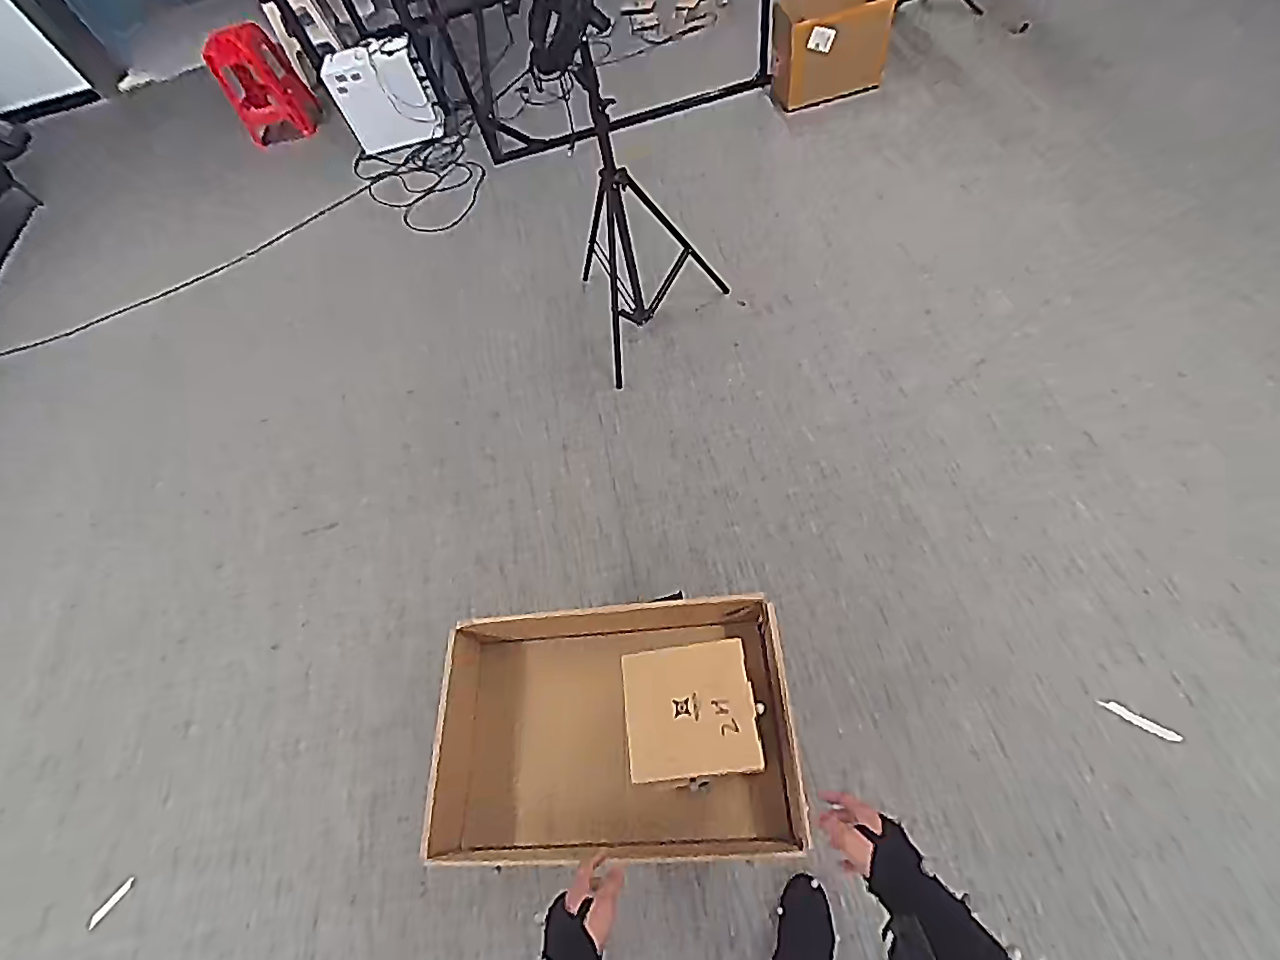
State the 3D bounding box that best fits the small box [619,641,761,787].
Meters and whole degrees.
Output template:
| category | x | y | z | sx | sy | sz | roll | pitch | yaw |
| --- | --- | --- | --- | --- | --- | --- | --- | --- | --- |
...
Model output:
| category | x | y | z | sx | sy | sz | roll | pitch | yaw |
| --- | --- | --- | --- | --- | --- | --- | --- | --- | --- |
| small box | 0.076 | 0.347 | 0.788 | 0.179 | 0.176 | 0.168 | -10 | 60 | 6 |
